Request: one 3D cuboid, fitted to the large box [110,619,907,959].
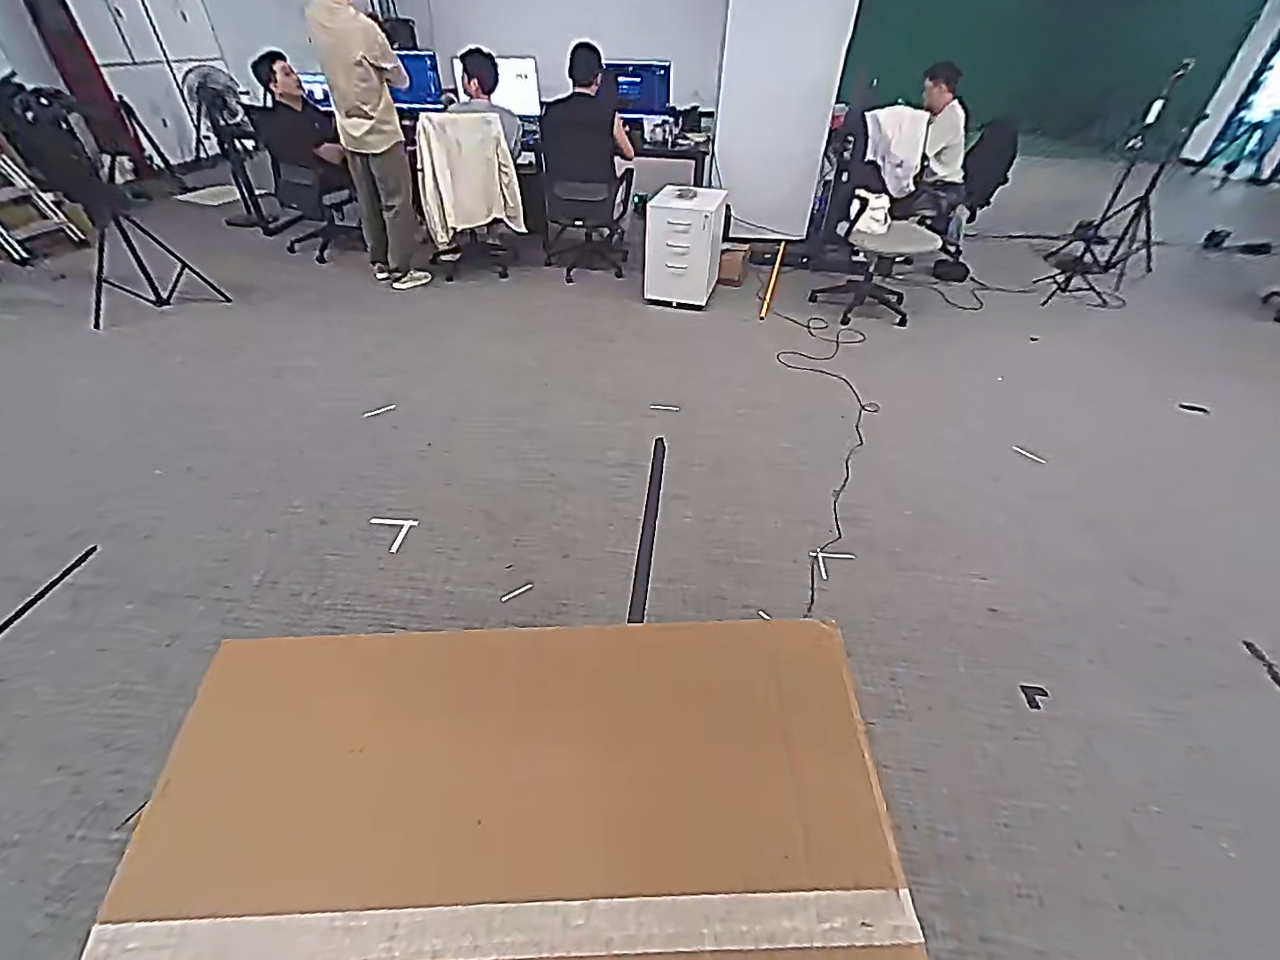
[{"bbox_3d":[-0.065,0.317,0.395,0.408,0.320,0.320,-2,53,0],"label":"large box"}]
